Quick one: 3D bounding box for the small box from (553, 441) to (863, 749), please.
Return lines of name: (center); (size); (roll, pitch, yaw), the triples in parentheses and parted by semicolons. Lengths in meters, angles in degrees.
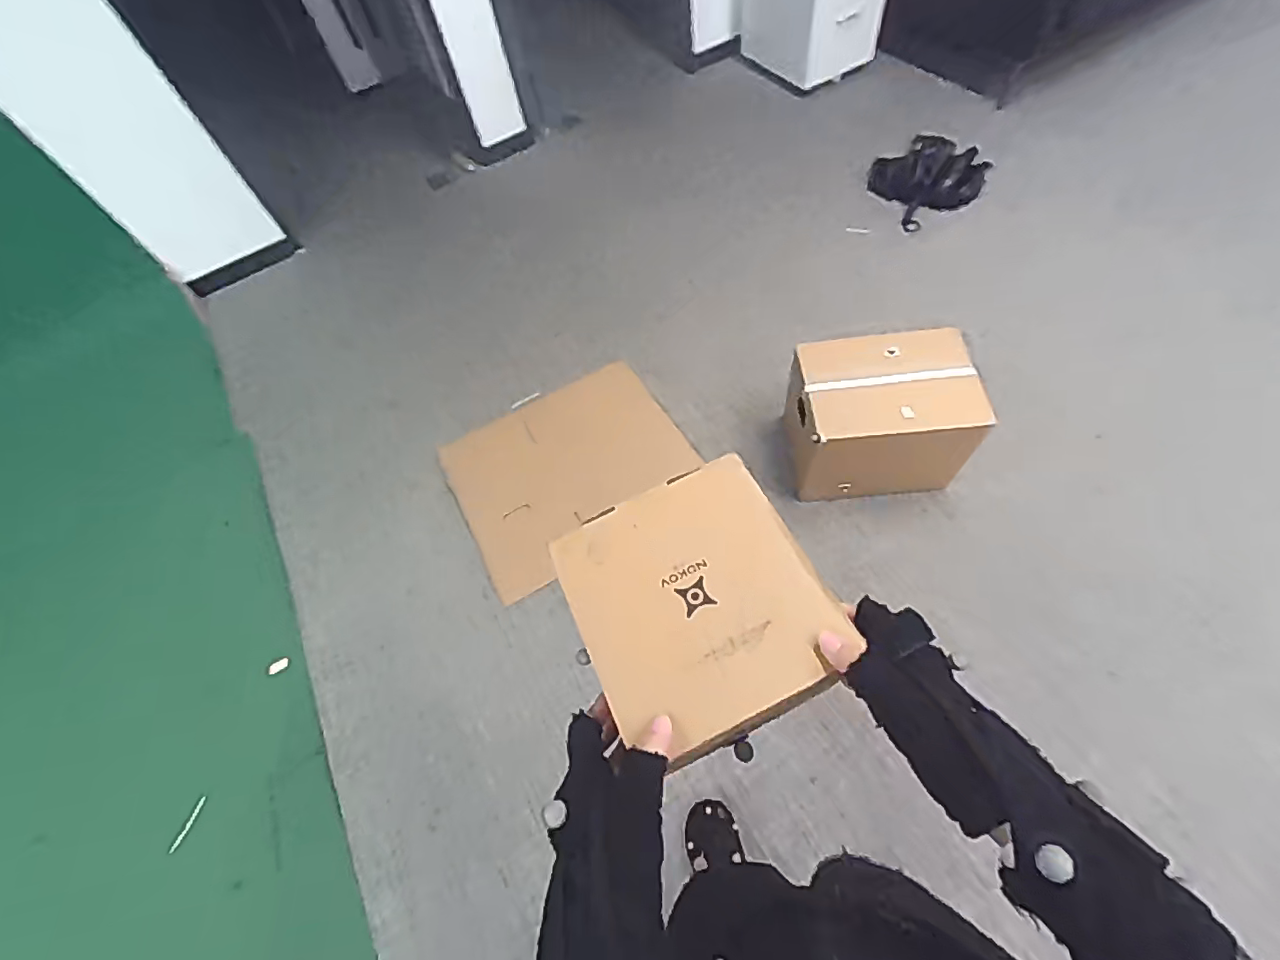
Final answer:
small box: (0.049, 0.105, 0.454); (0.168, 0.176, 0.179); (-26, 62, -4)
